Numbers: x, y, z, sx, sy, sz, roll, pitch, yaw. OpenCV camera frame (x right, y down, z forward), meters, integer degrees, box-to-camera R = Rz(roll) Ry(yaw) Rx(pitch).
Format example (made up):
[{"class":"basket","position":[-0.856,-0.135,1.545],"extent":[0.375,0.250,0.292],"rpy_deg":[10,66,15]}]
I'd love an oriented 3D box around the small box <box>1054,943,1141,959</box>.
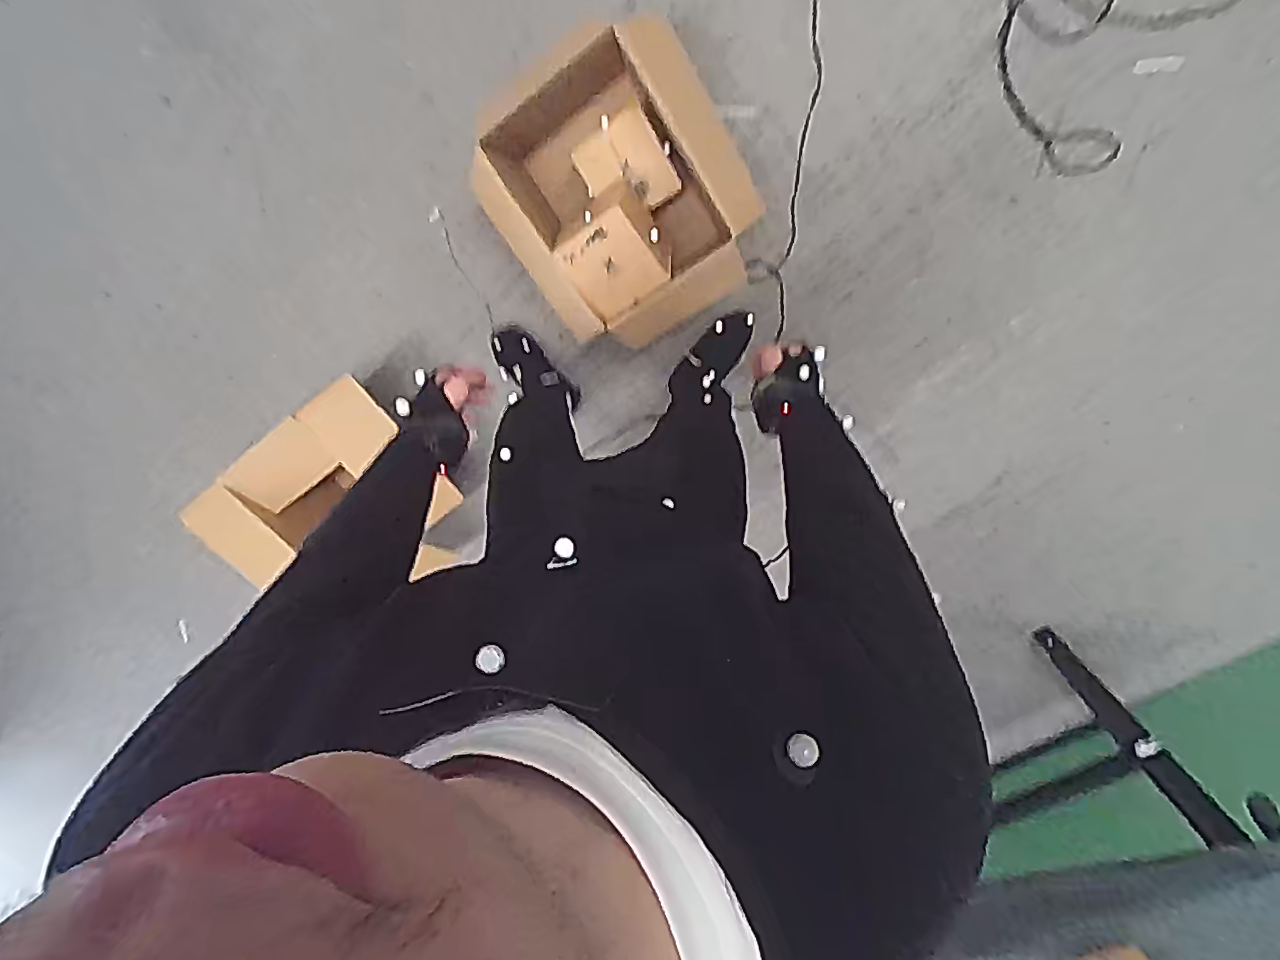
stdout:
[{"class":"small box","position":[1.012,1.110,1.117],"extent":[0.168,0.176,0.179],"rpy_deg":[-40,105,19]}]
